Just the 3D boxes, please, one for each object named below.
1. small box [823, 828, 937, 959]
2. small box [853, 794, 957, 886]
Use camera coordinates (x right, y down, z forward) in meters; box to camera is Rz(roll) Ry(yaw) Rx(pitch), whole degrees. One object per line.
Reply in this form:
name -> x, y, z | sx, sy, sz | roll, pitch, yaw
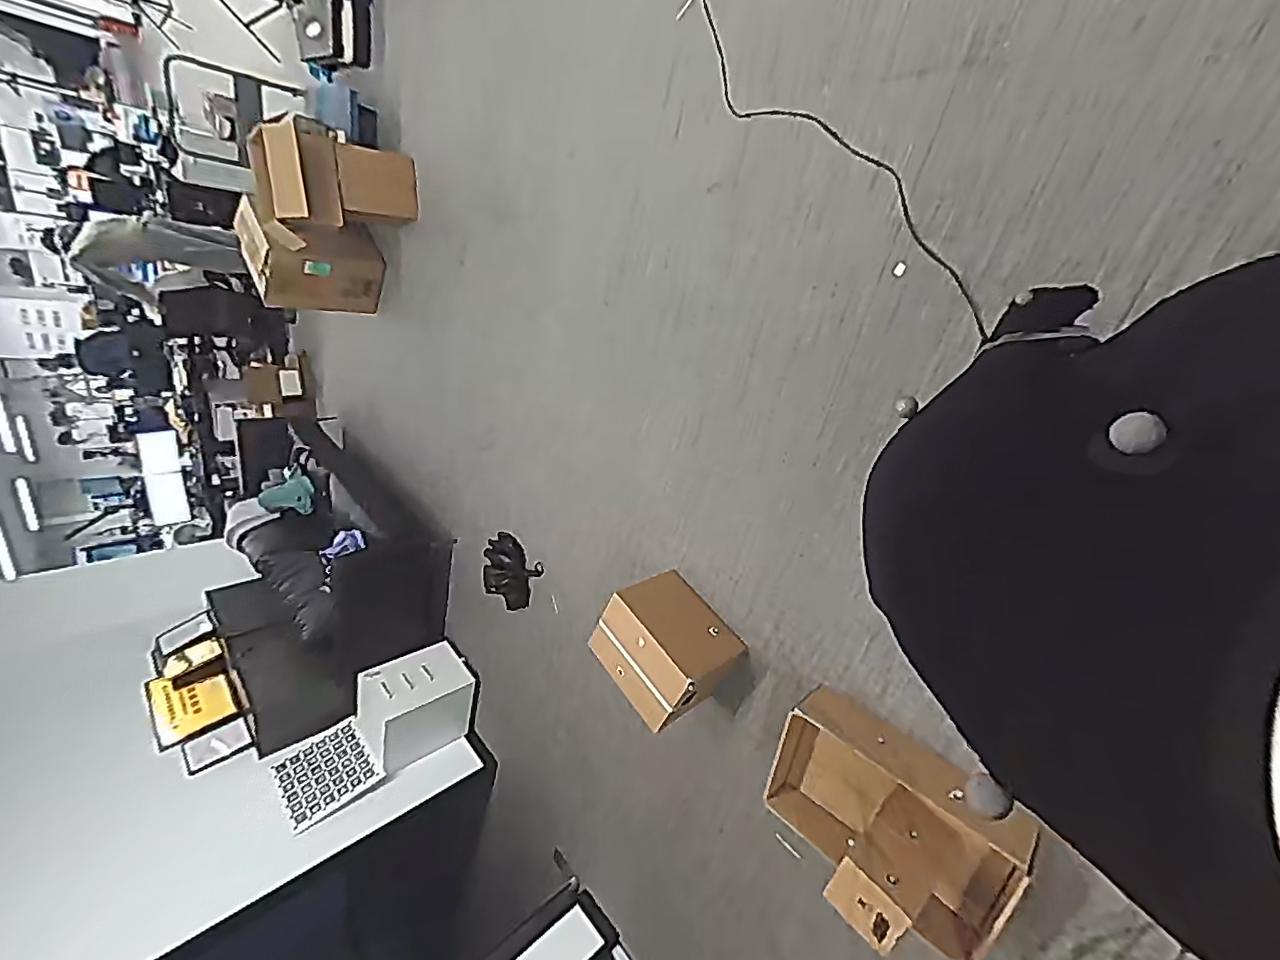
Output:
small box -> 0.596, 1.021, 1.339 | 0.179, 0.176, 0.168 | 35, 121, 38
small box -> 0.713, 0.996, 1.452 | 0.179, 0.176, 0.168 | 36, 122, 38
